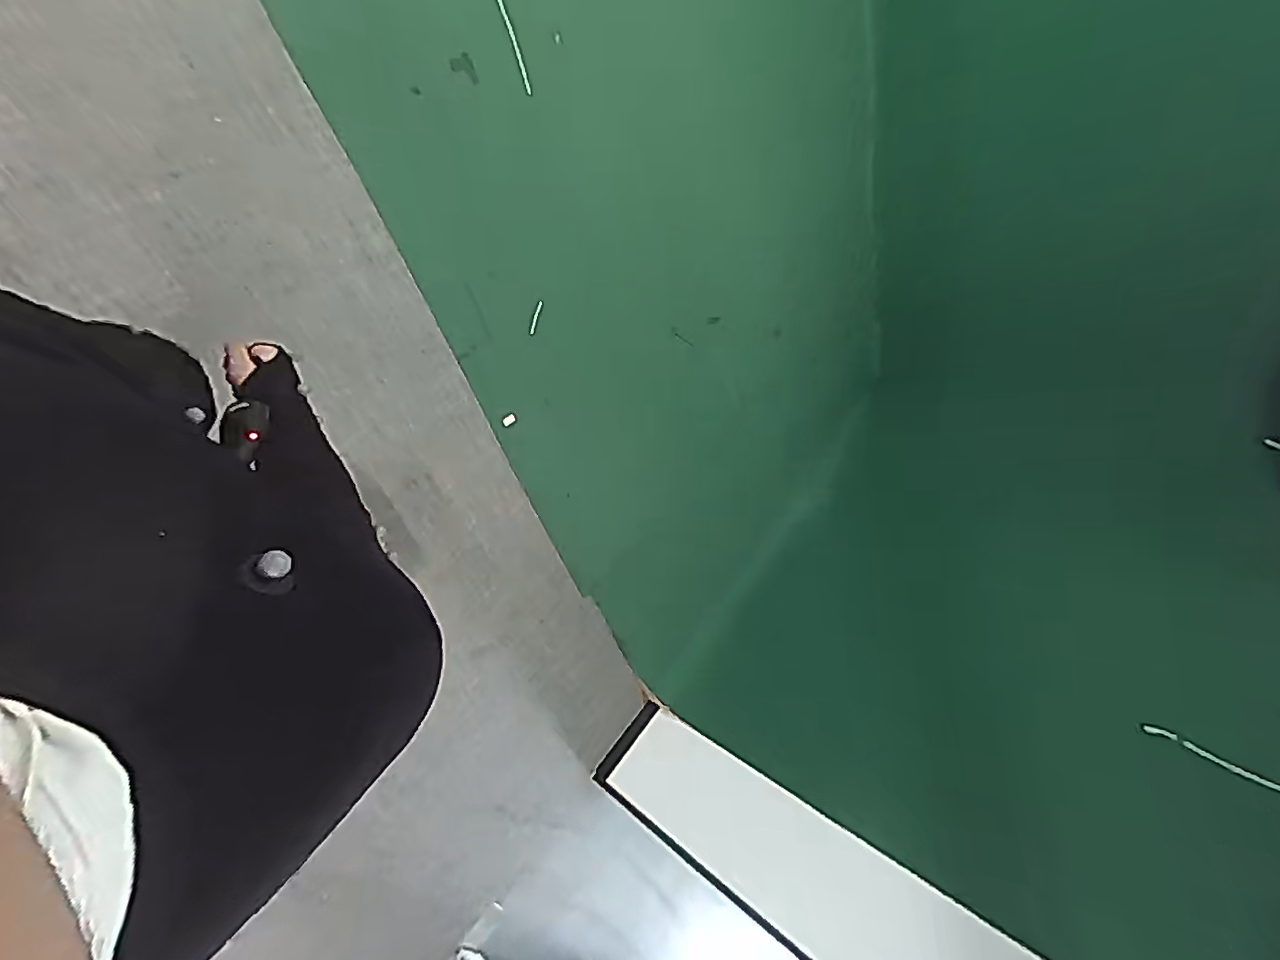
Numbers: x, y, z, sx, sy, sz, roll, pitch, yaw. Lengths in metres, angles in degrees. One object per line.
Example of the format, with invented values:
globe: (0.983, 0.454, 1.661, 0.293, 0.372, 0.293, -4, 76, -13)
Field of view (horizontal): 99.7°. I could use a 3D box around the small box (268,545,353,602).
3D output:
small box: (-0.857, 0.295, 1.455, 0.168, 0.176, 0.179, -42, 130, -30)
